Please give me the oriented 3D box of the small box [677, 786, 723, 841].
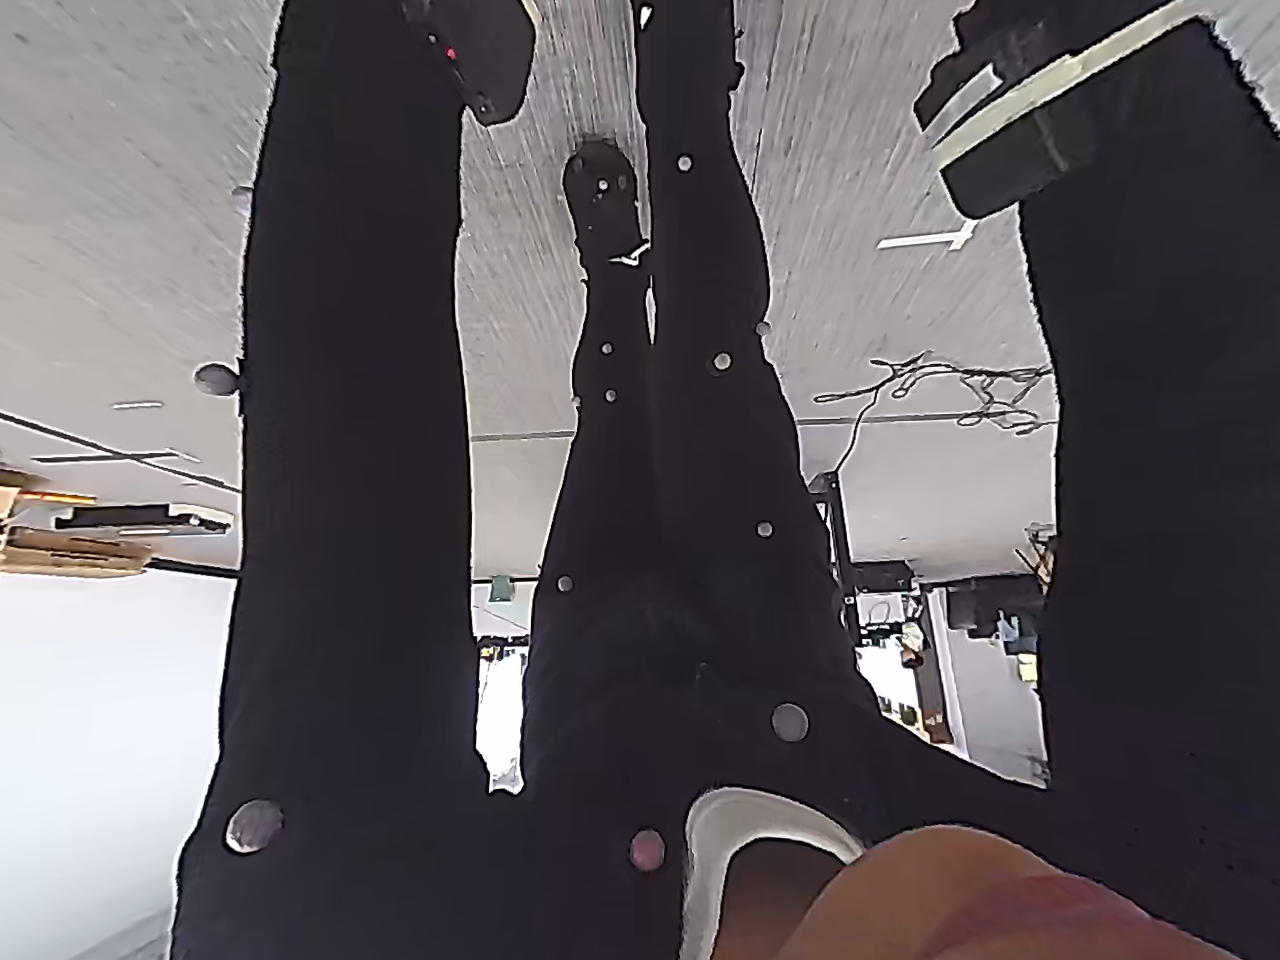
[{"bbox_3d":[0.259,1.464,2.379,0.179,0.176,0.168,-4,165,-1],"label":"small box"}]
